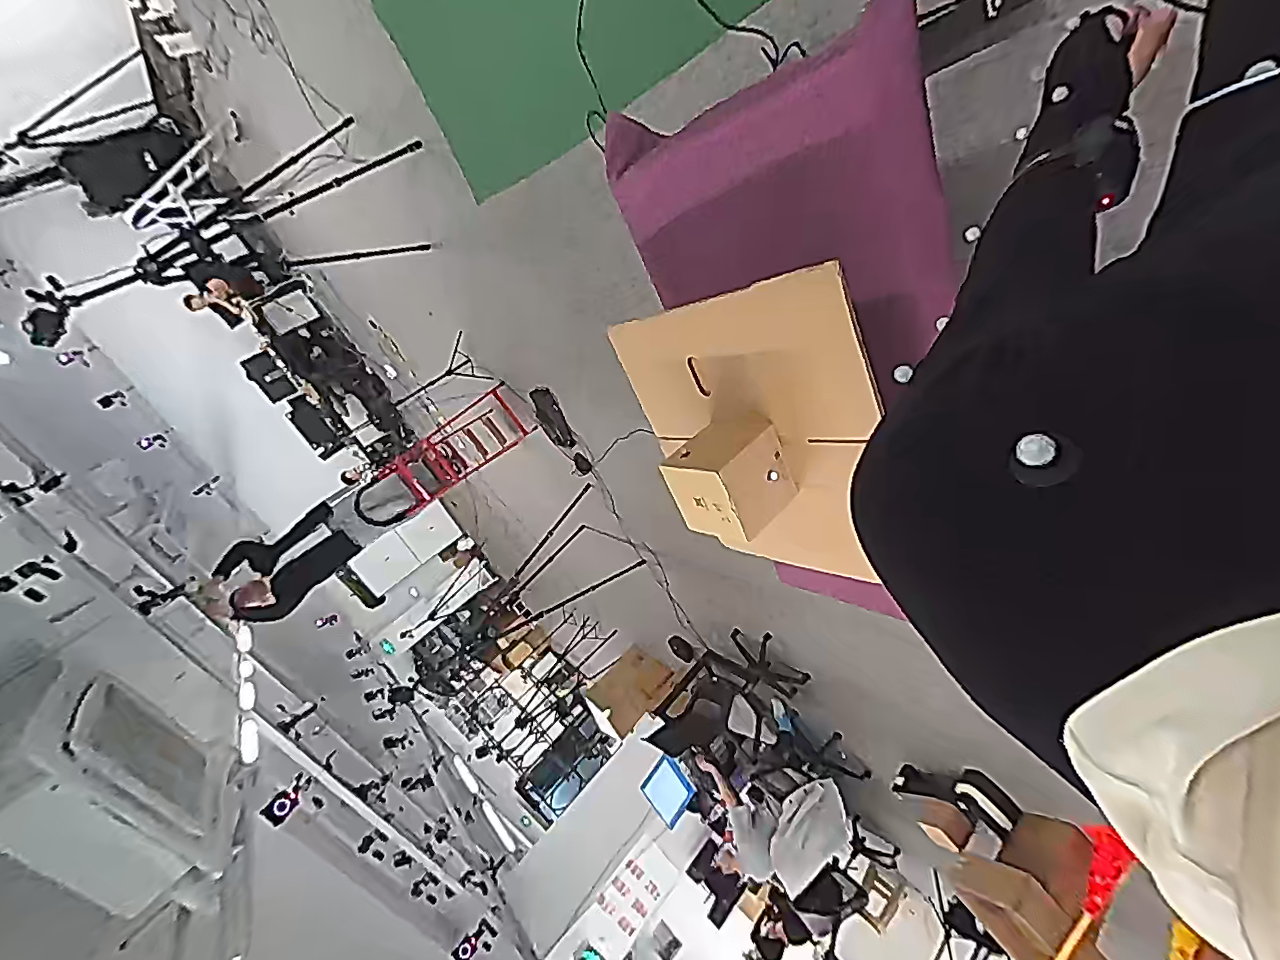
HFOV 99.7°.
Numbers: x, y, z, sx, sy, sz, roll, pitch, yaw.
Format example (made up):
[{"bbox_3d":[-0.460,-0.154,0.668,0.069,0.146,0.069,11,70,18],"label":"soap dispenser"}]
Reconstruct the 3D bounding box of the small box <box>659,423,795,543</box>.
[{"bbox_3d":[0.176,-0.002,1.080,0.179,0.176,0.168,8,131,53],"label":"small box"}]
